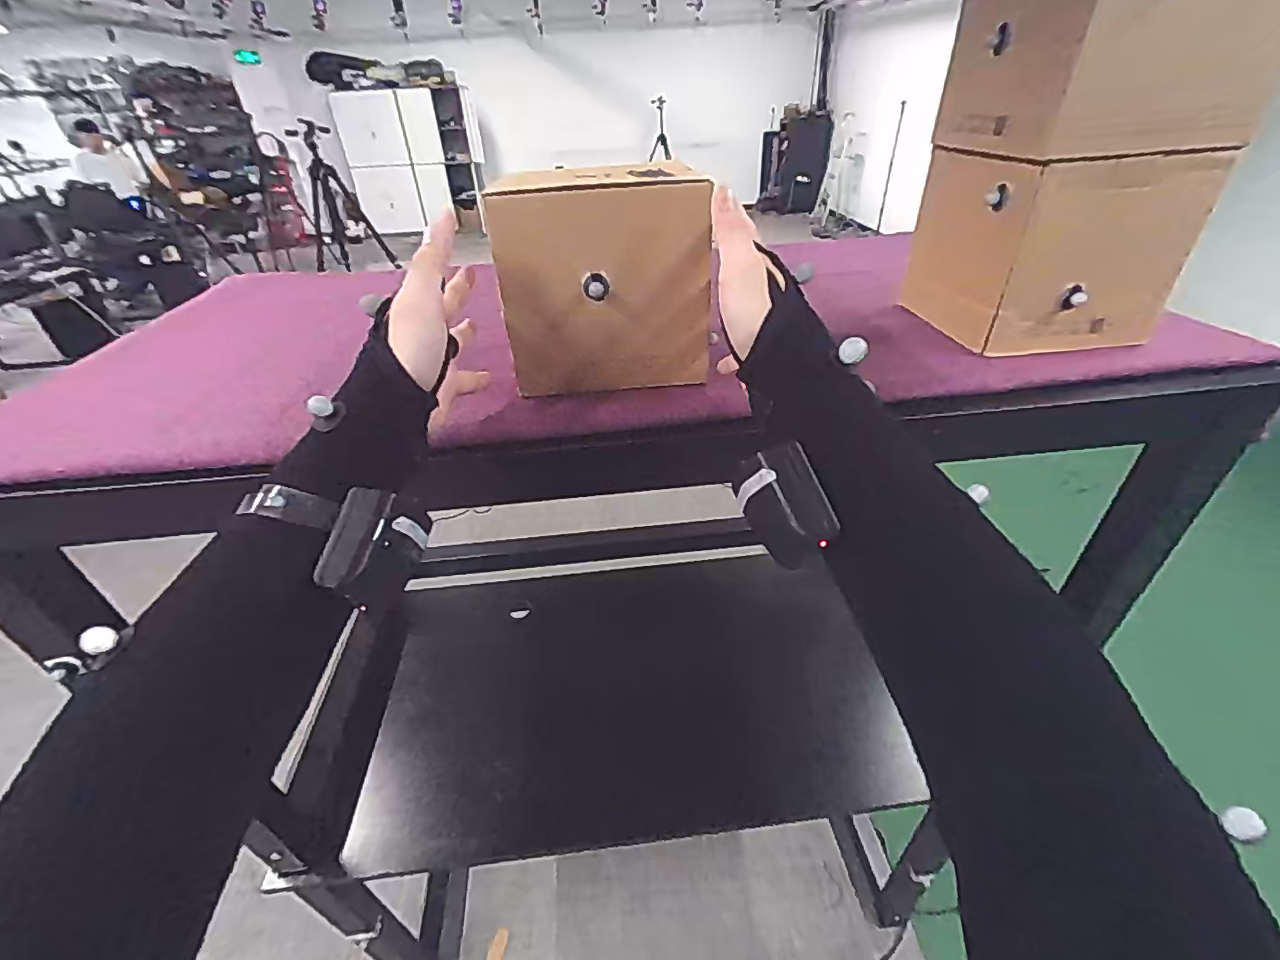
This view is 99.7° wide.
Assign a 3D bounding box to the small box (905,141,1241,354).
[{"bbox_3d":[0.396,-0.239,0.542,0.168,0.176,0.179,-5,36,-2],"label":"small box"}]

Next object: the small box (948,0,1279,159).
[{"bbox_3d":[0.382,-0.367,0.439,0.179,0.176,0.168,-6,37,-2],"label":"small box"}]

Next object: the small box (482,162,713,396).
[{"bbox_3d":[-0.032,-0.193,0.514,0.179,0.176,0.168,-6,34,-1],"label":"small box"}]
